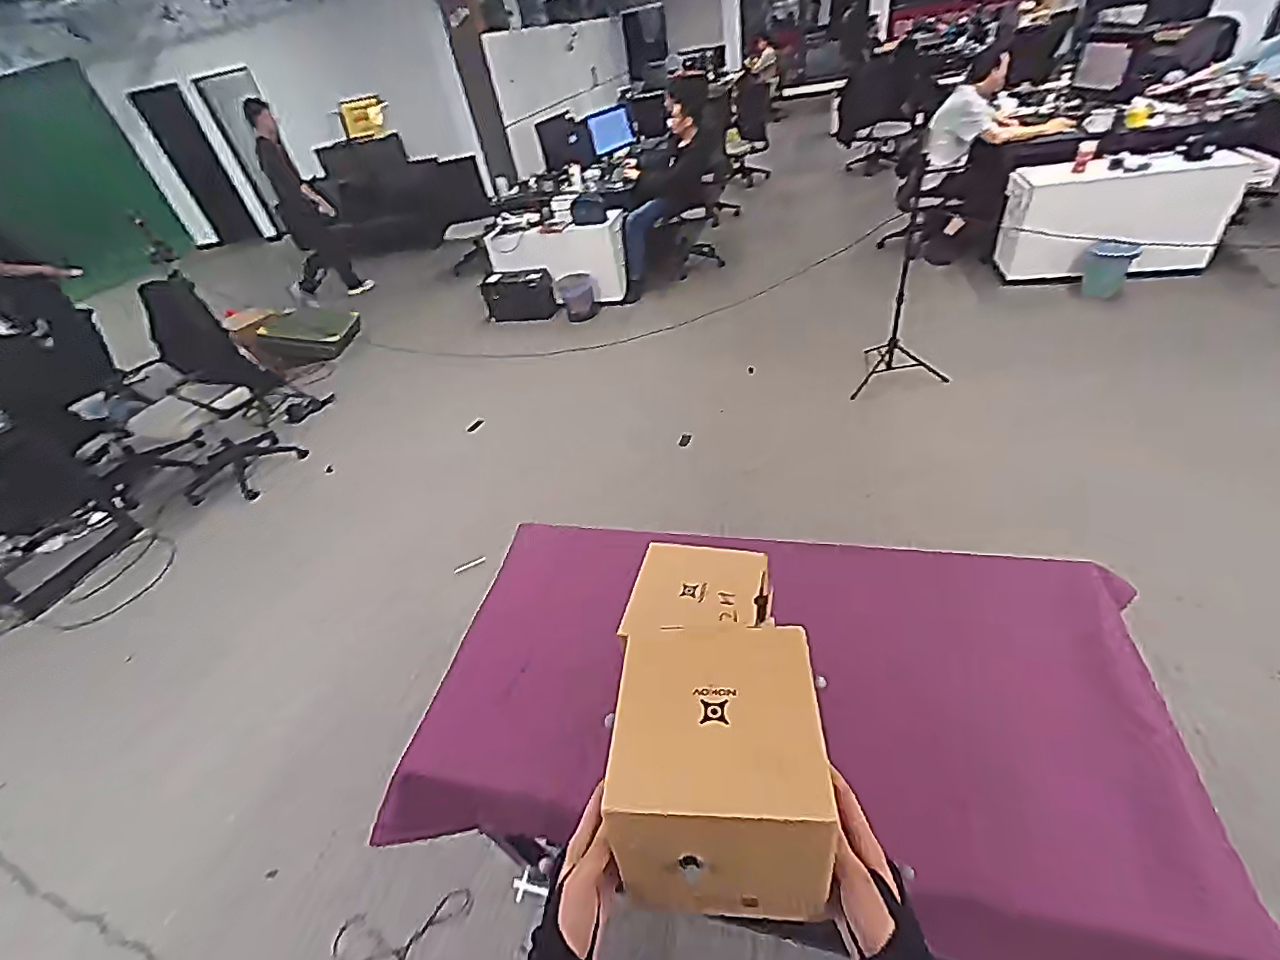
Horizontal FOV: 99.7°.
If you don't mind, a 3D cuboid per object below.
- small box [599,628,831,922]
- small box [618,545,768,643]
[{"bbox_3d":[0.070,0.256,0.484,0.168,0.176,0.179,-2,31,9],"label":"small box"},{"bbox_3d":[0.087,0.217,0.783,0.179,0.176,0.168,4,42,18],"label":"small box"}]
